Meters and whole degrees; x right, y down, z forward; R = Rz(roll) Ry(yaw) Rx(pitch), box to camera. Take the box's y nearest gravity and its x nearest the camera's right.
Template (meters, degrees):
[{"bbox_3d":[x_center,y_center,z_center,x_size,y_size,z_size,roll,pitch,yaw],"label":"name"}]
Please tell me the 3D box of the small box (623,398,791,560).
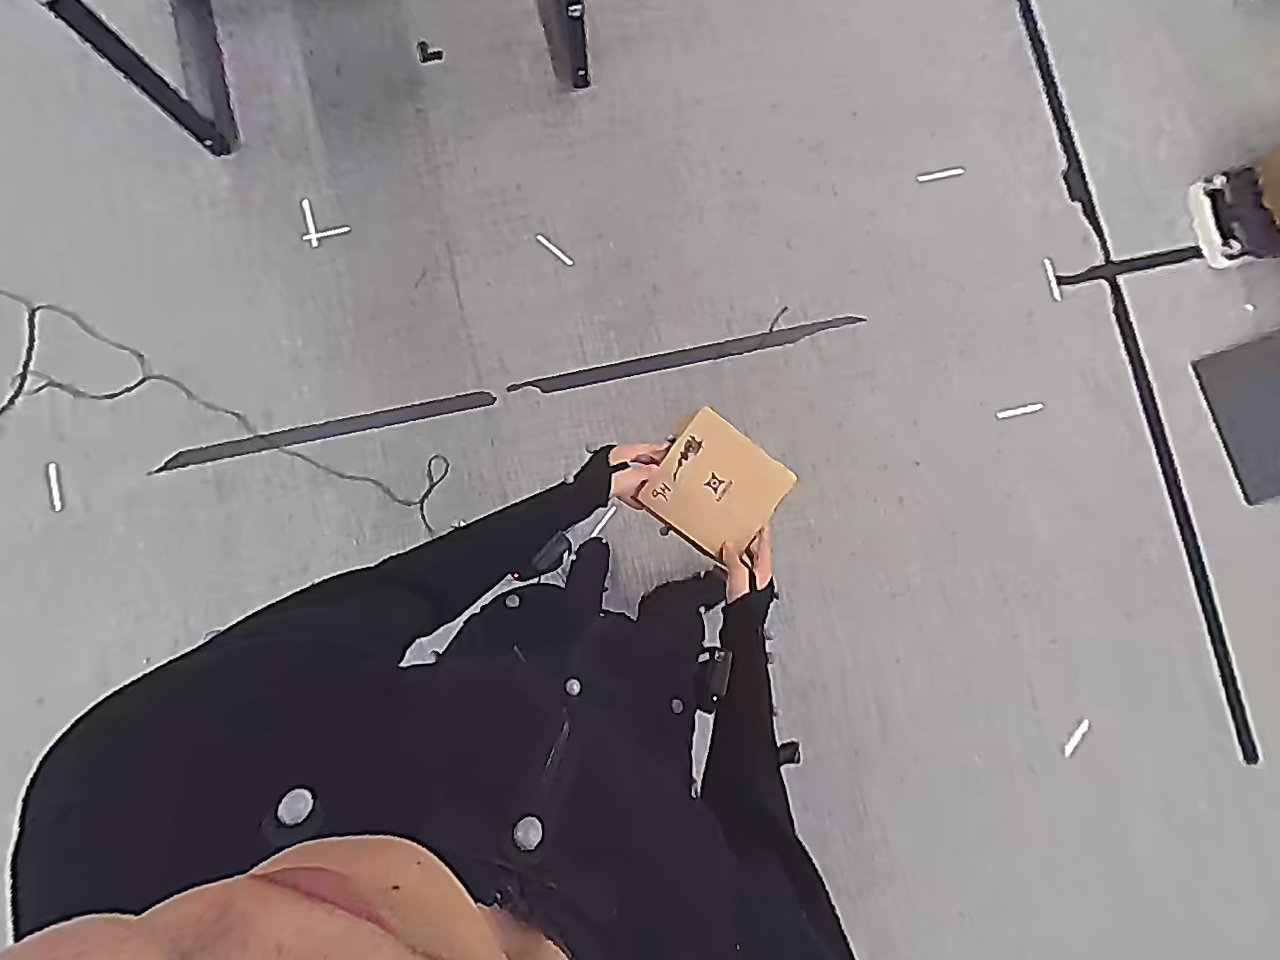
[{"bbox_3d":[0.092,-0.003,0.835,0.179,0.176,0.168,36,85,-6],"label":"small box"}]
